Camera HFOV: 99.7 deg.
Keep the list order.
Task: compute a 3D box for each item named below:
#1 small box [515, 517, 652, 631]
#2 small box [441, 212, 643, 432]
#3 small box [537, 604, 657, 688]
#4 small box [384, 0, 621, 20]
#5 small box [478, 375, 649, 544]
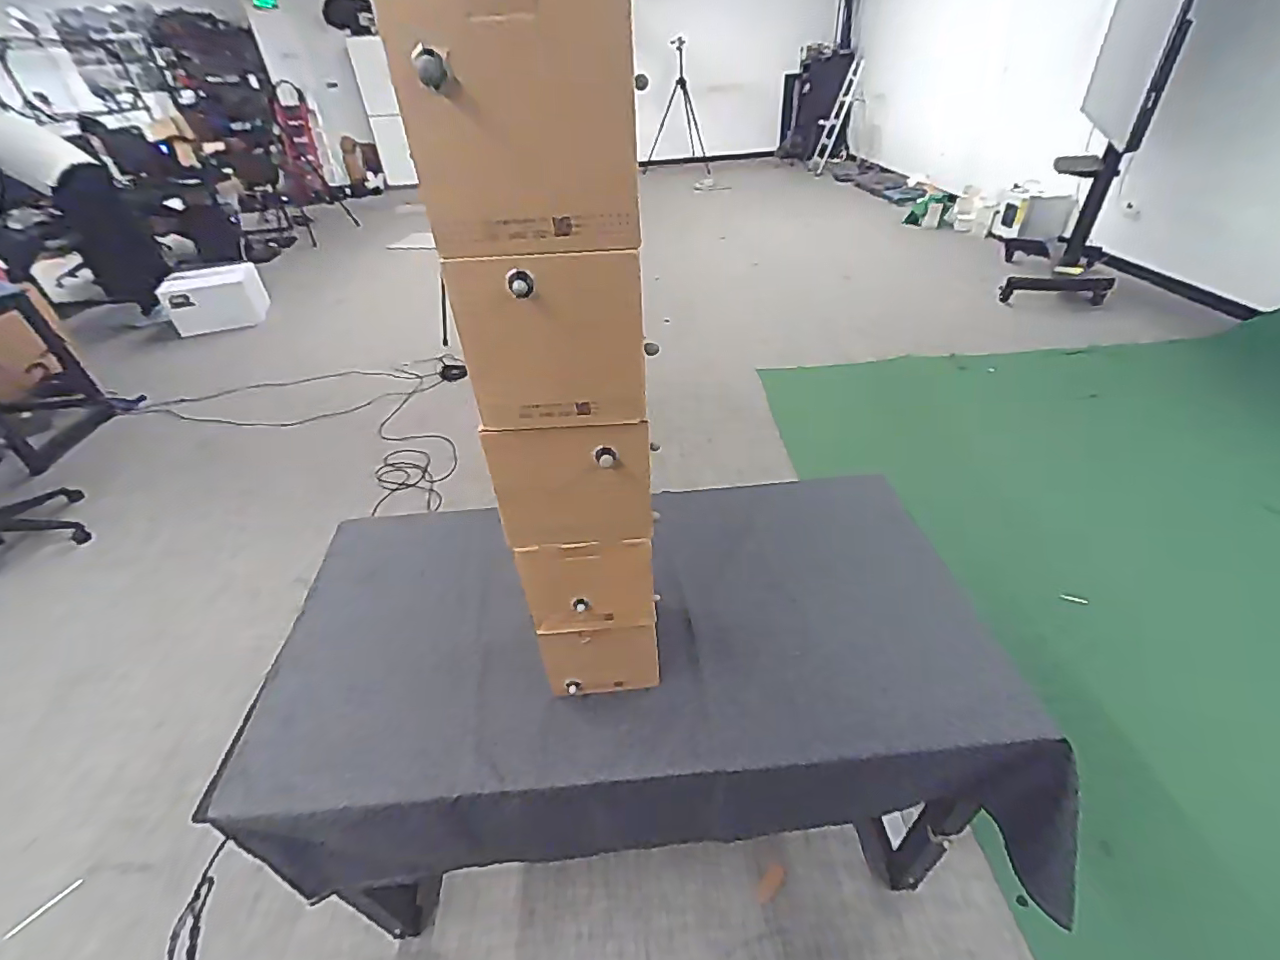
[{"bbox_3d":[-0.072,0.089,0.768,0.168,0.176,0.179,-5,39,-1],"label":"small box"},{"bbox_3d":[-0.084,-0.166,0.562,0.168,0.176,0.179,-3,38,1],"label":"small box"},{"bbox_3d":[-0.063,0.215,0.869,0.168,0.176,0.179,-5,37,-1],"label":"small box"},{"bbox_3d":[-0.098,-0.425,0.360,0.168,0.176,0.179,-1,39,1],"label":"small box"},{"bbox_3d":[-0.079,-0.038,0.664,0.179,0.176,0.168,-4,38,0],"label":"small box"}]
